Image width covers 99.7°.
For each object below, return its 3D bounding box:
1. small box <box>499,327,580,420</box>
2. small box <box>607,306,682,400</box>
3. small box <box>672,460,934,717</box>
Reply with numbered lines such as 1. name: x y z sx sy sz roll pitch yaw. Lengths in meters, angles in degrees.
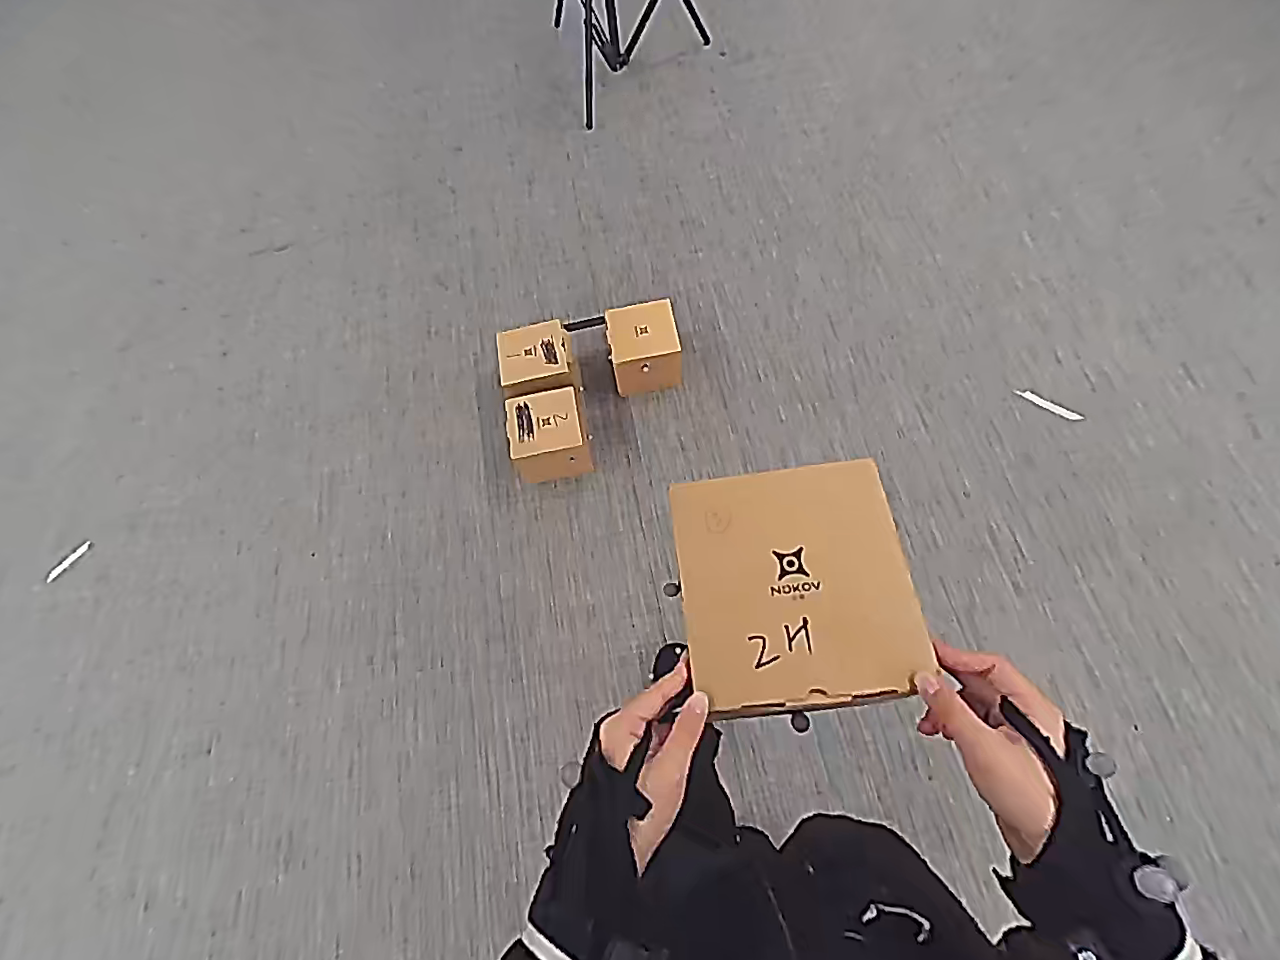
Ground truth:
1. small box: -0.264 -0.281 1.459 0.179 0.176 0.168 -12 69 2
2. small box: 0.015 -0.337 1.456 0.179 0.176 0.168 -11 69 2
3. small box: 0.122 0.105 0.479 0.168 0.176 0.179 -8 63 5
